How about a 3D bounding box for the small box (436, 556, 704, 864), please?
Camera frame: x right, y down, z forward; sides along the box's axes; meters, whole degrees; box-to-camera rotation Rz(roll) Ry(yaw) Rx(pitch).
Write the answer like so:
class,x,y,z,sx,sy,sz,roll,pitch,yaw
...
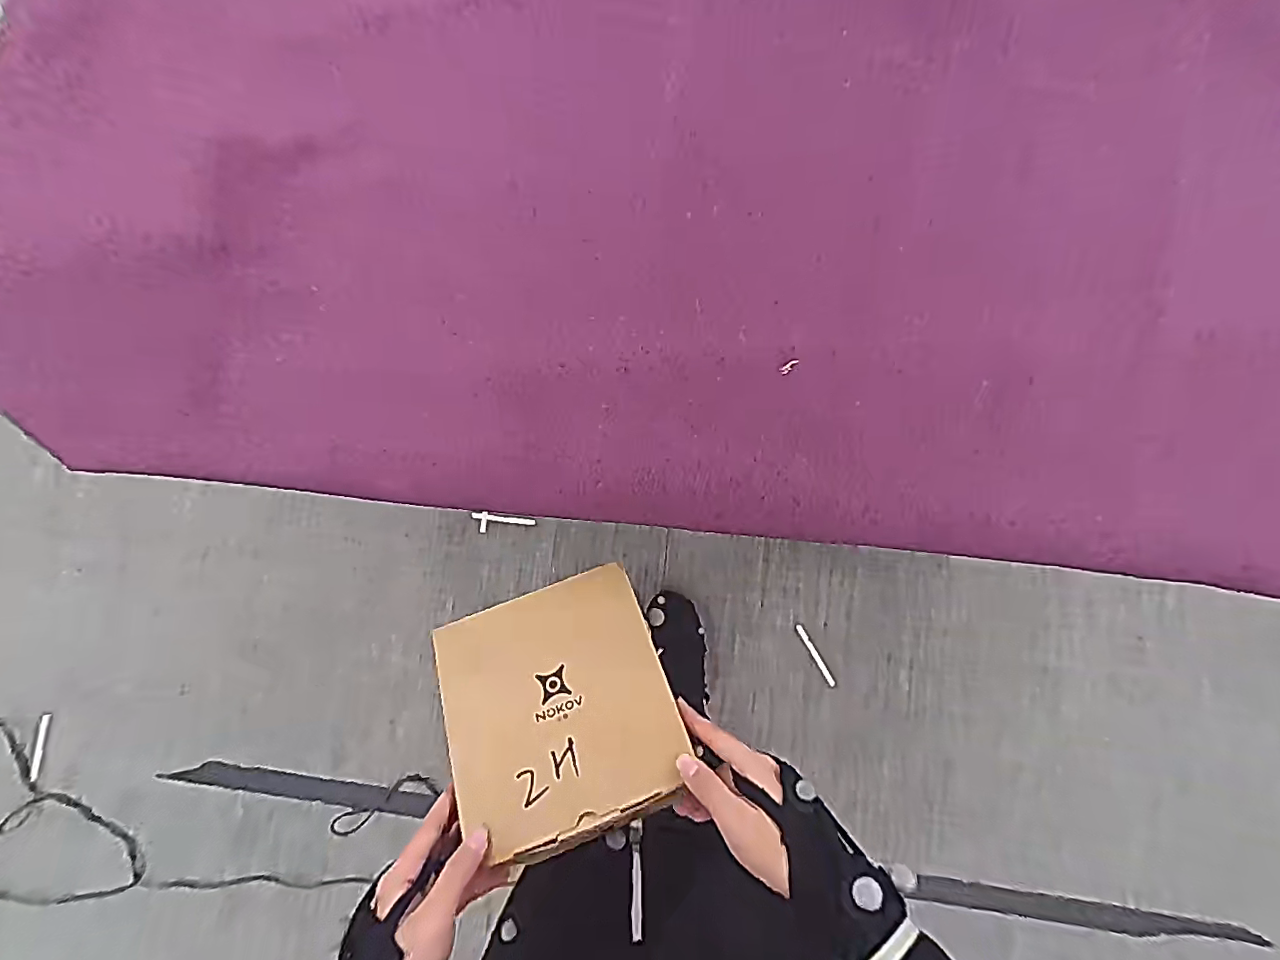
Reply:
class,x,y,z,sx,sy,sz,roll,pitch,yaw
small box,-0.054,0.198,0.465,0.168,0.176,0.179,-20,58,-6
